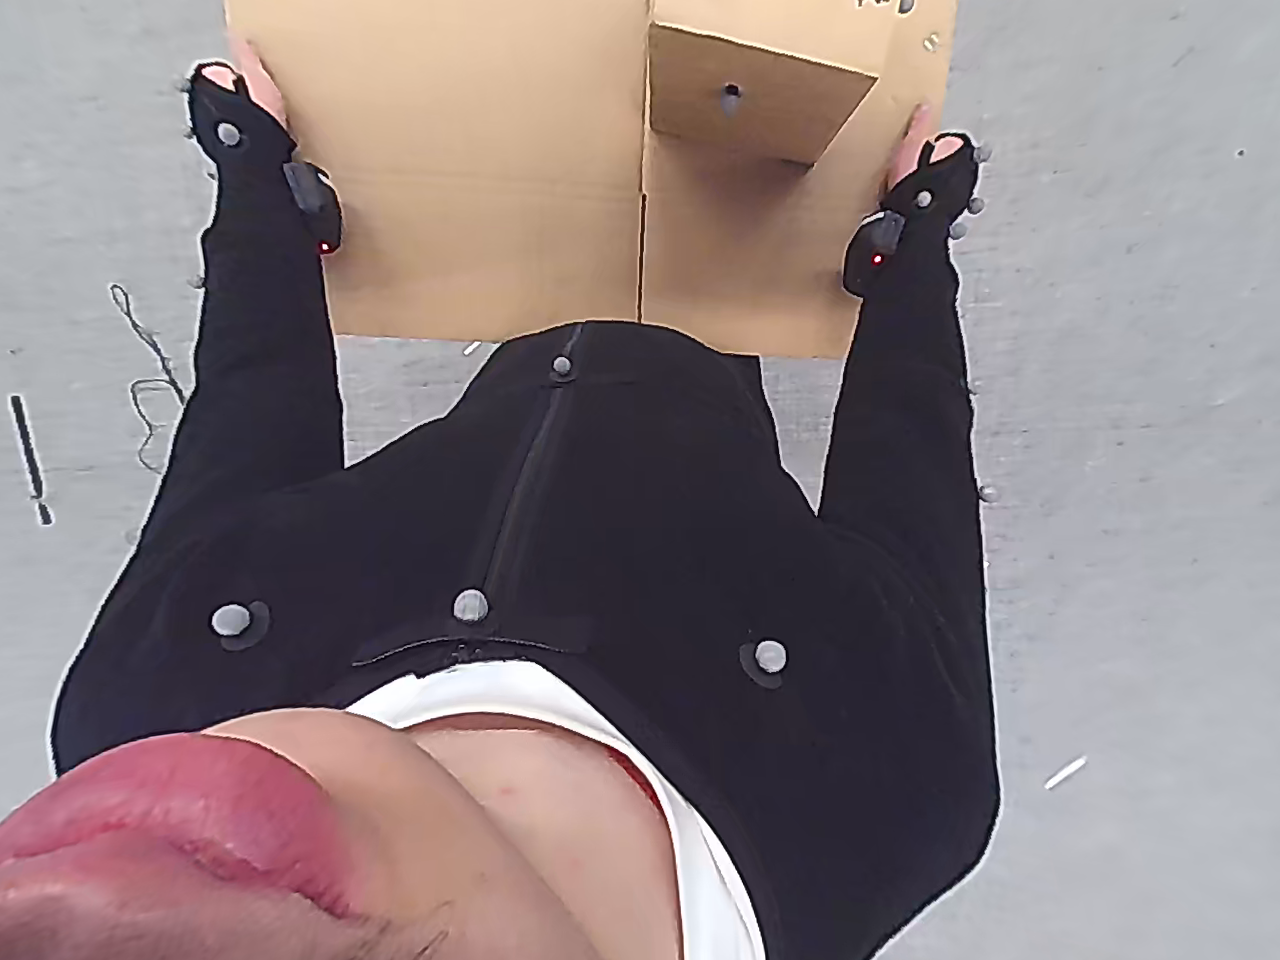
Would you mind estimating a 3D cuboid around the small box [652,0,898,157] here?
[{"bbox_3d":[0.114,-0.410,0.466,0.179,0.176,0.168,13,101,0],"label":"small box"}]
